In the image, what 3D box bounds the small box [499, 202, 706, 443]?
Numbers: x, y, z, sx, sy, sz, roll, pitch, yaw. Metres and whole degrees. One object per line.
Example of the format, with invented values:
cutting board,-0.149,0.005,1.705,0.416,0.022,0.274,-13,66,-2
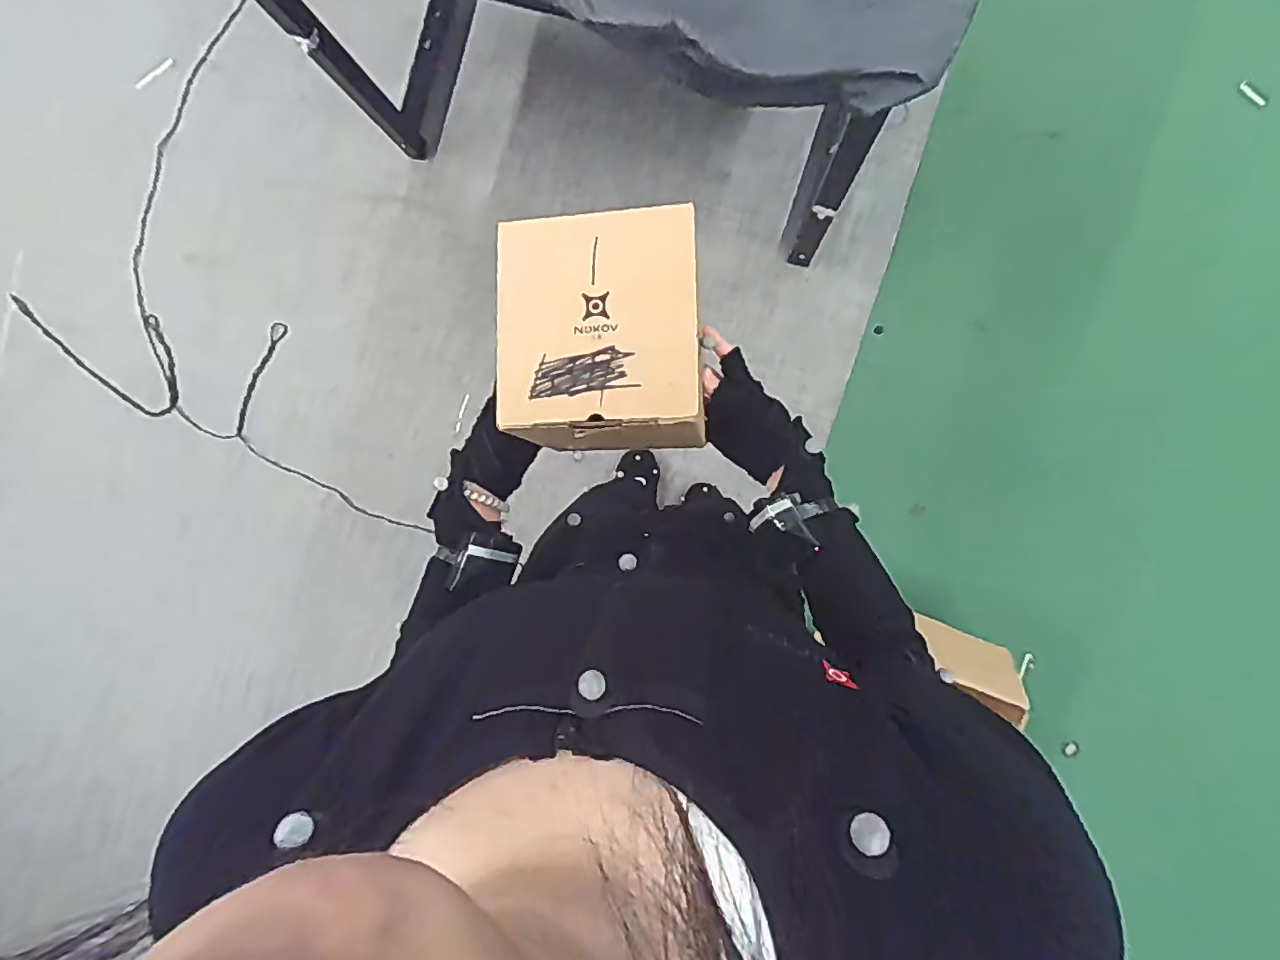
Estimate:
small box,-0.023,-0.128,0.512,0.168,0.176,0.179,-1,86,8
